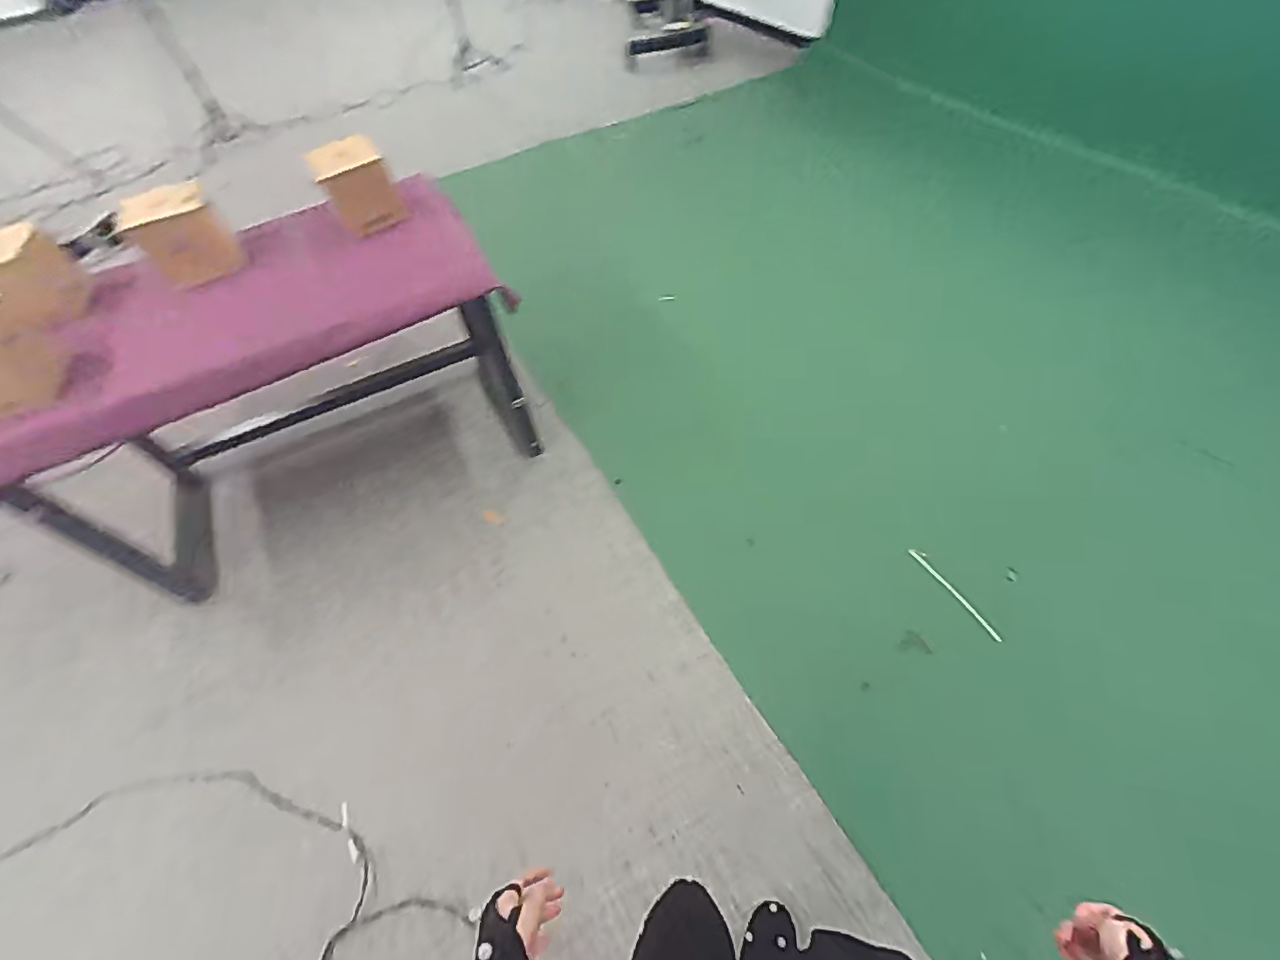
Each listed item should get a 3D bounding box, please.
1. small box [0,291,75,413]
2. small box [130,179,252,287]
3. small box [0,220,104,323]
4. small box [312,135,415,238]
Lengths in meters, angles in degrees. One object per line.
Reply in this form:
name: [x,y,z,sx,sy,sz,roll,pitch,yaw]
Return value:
small box: [-1.344,-0.253,1.121,0.168,0.176,0.179,-18,55,-9]
small box: [-1.130,-0.620,1.368,0.179,0.176,0.168,-26,59,-13]
small box: [-1.469,-0.489,1.299,0.179,0.176,0.168,-14,56,-7]
small box: [-0.740,-0.789,1.456,0.168,0.176,0.179,-30,59,-14]
